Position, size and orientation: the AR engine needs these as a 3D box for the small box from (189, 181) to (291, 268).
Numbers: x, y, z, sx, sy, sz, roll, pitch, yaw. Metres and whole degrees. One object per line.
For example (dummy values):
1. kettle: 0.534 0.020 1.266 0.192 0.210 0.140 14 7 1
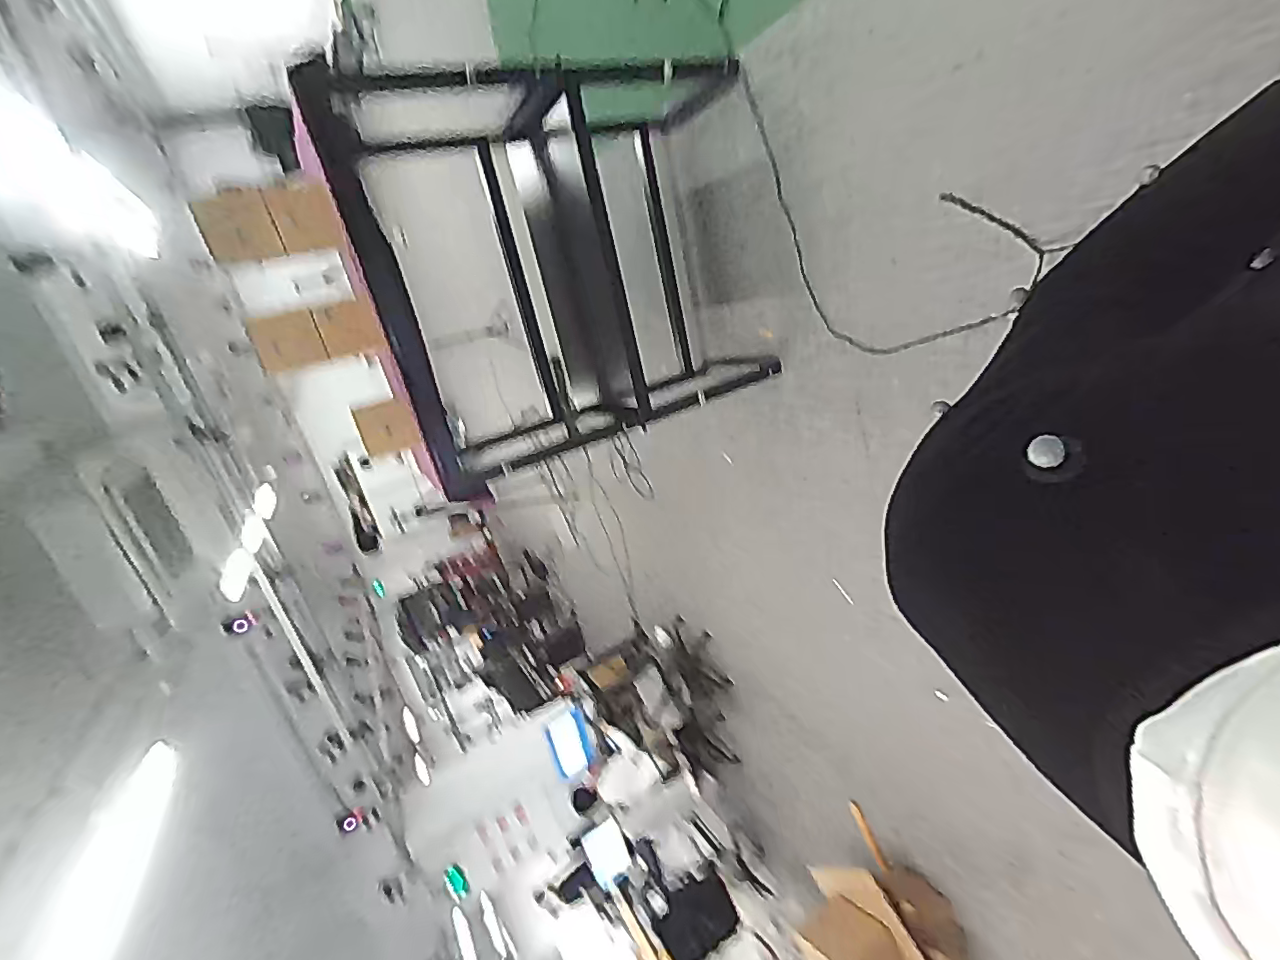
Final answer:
1. small box: -1.081 -0.697 1.482 0.168 0.176 0.179 24 133 56

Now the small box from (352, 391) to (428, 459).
1. small box: -0.807 -0.186 1.746 0.168 0.176 0.179 18 127 60

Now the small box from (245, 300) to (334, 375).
1. small box: -1.018 -0.417 1.590 0.168 0.176 0.179 22 129 58

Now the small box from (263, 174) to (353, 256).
1. small box: -0.942 -0.754 1.548 0.168 0.176 0.179 27 134 56

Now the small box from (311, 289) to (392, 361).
1. small box: -0.877 -0.473 1.655 0.168 0.176 0.179 20 128 59
